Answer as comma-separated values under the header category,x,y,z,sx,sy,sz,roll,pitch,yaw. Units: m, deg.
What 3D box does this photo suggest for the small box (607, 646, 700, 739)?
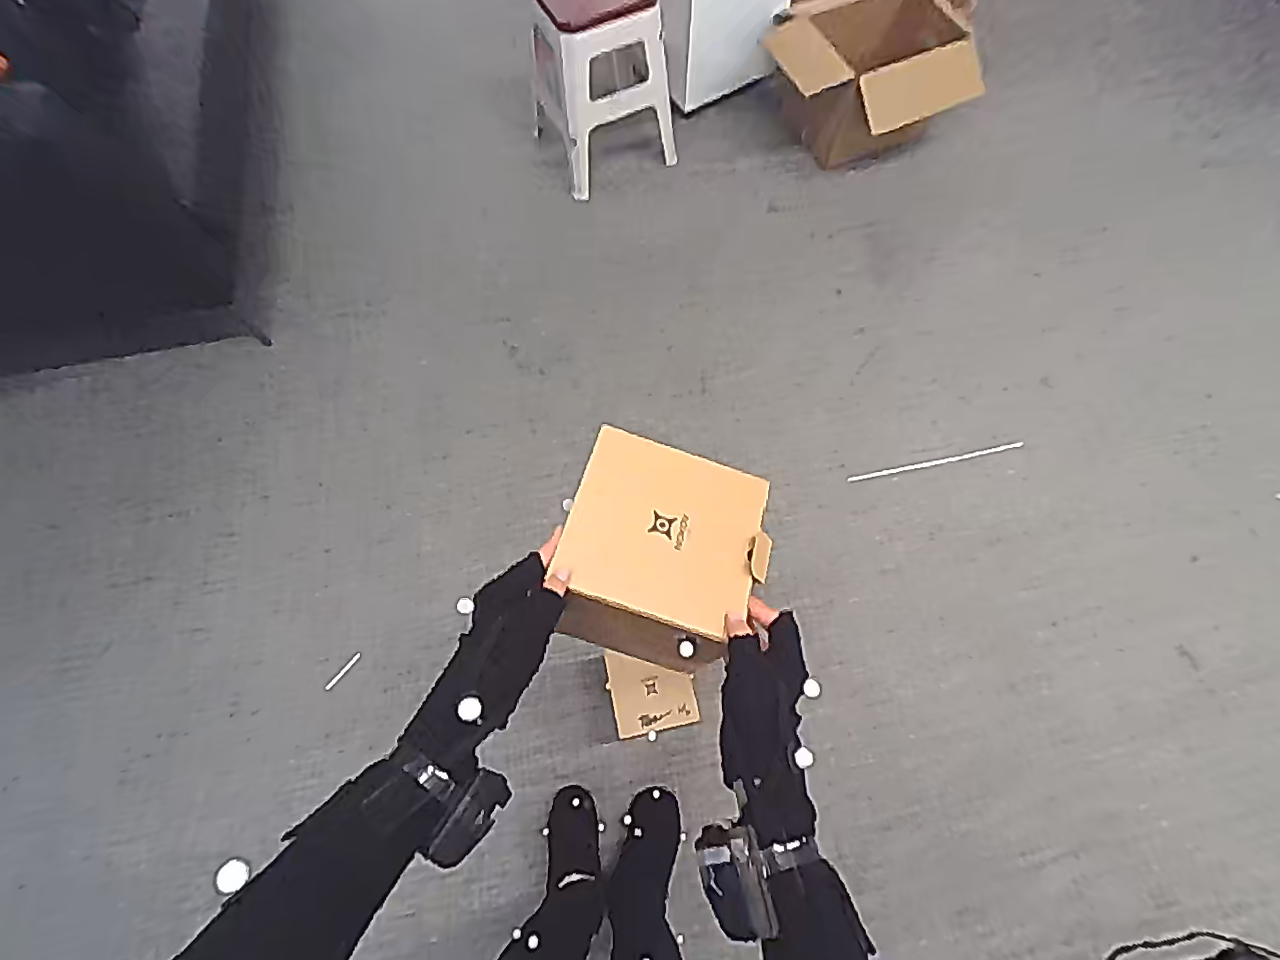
category,x,y,z,sx,sy,sz,roll,pitch,yaw
small box,0.025,0.449,1.171,0.168,0.176,0.179,-11,68,-3

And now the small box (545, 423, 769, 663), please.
category,x,y,z,sx,sy,sz,roll,pitch,yaw
small box,0.009,0.074,0.553,0.179,0.176,0.168,19,60,-2
